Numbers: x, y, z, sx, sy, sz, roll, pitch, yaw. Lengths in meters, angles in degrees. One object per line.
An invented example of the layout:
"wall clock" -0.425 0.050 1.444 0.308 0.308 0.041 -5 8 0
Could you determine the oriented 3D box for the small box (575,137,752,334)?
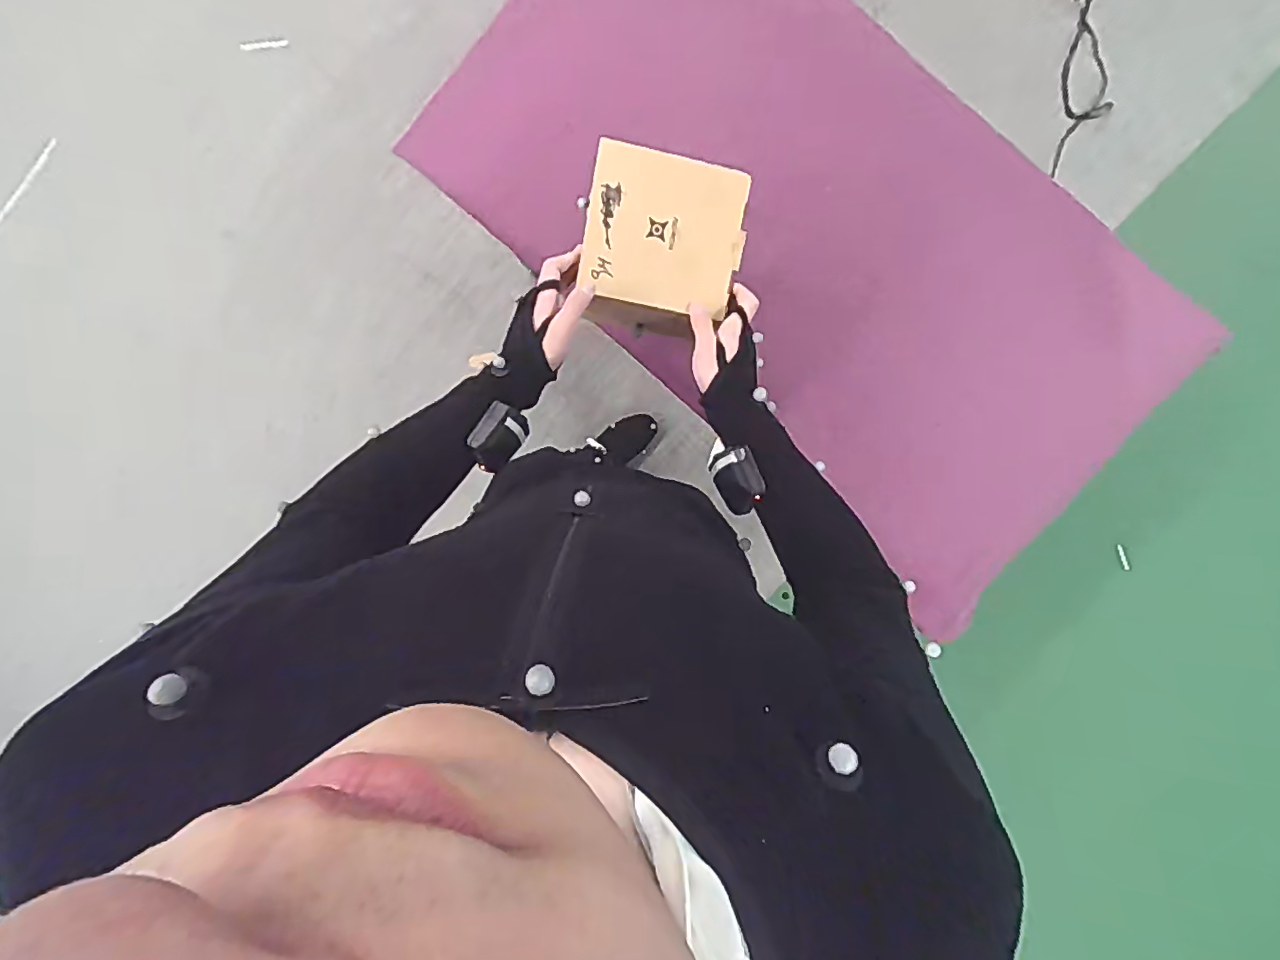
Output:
"small box" 0.017 -0.288 0.682 0.179 0.176 0.168 10 96 -8
